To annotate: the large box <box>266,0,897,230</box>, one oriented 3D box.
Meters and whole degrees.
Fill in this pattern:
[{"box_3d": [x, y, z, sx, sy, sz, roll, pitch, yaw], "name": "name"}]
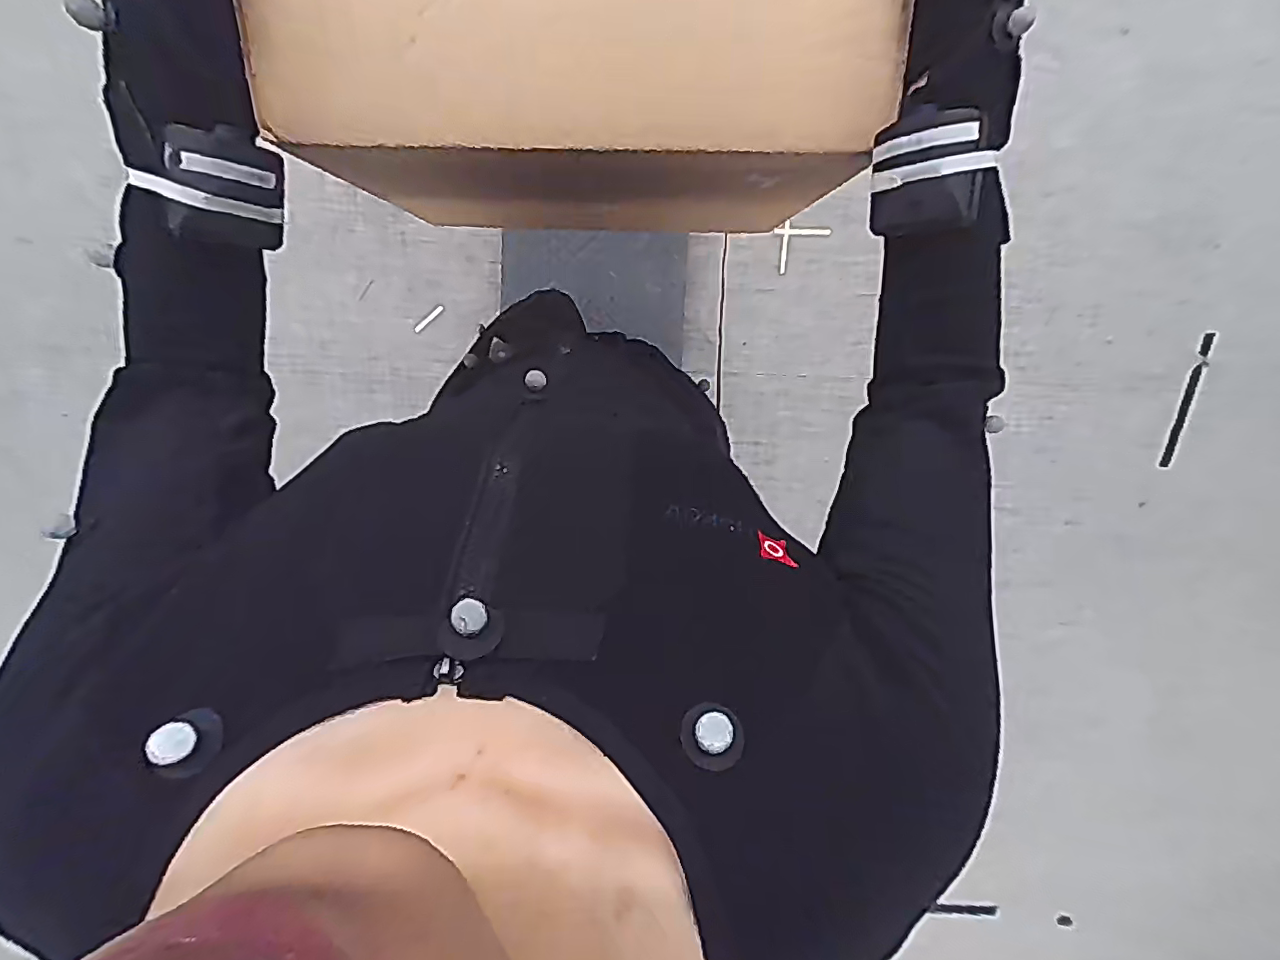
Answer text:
[{"box_3d": [-0.040, -0.410, 0.463, 0.408, 0.320, 0.320, 0, 106, -2], "name": "large box"}]
